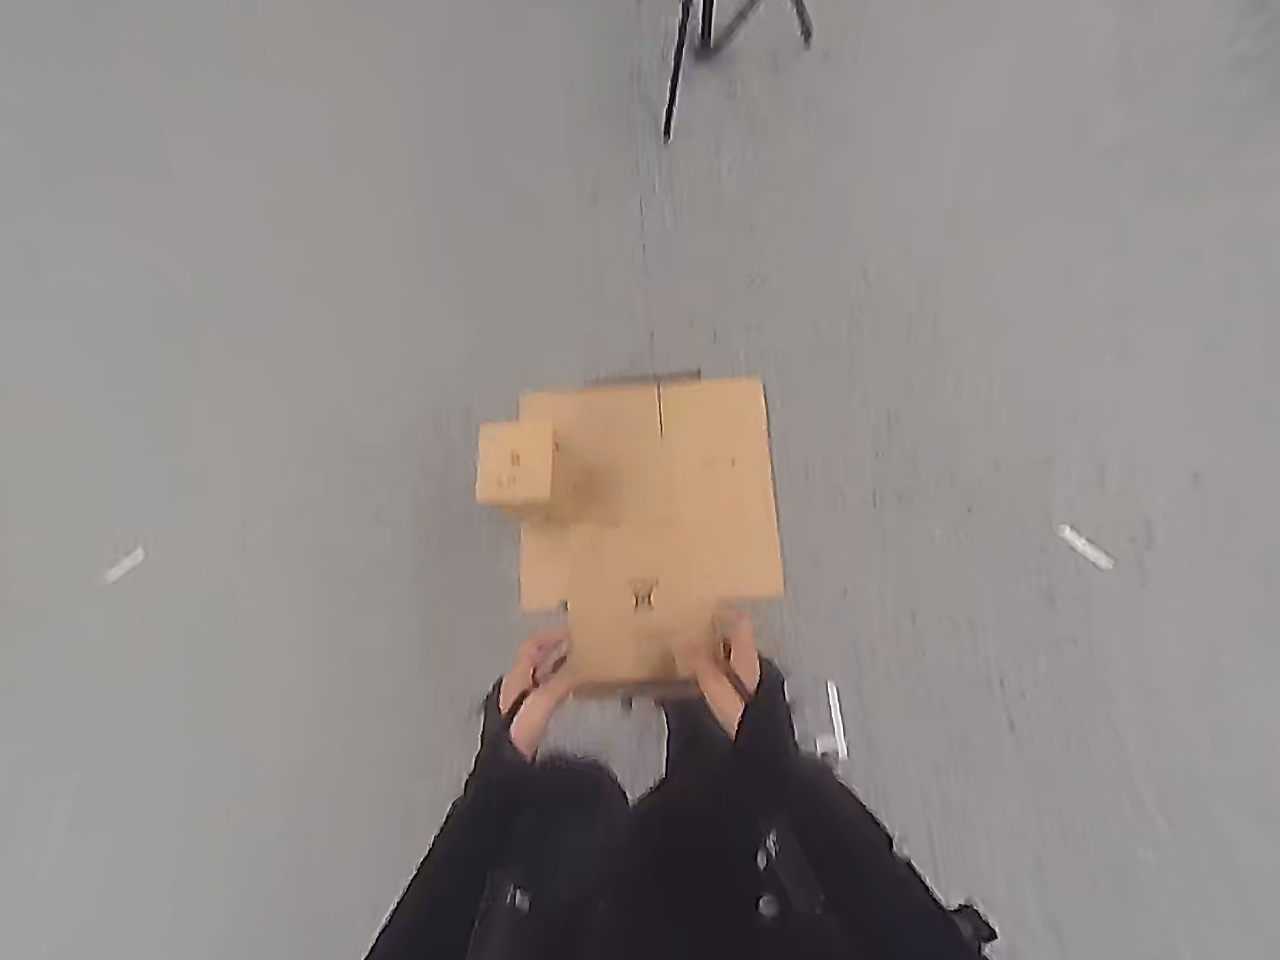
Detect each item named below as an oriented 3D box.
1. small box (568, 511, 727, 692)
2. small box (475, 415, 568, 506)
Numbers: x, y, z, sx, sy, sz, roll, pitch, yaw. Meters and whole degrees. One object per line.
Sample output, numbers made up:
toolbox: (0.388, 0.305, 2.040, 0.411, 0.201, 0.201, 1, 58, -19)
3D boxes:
small box: (0.000, 0.151, 0.655, 0.168, 0.176, 0.179, -1, 62, -4)
small box: (-0.263, -0.039, 1.235, 0.168, 0.176, 0.179, -1, 80, 4)
